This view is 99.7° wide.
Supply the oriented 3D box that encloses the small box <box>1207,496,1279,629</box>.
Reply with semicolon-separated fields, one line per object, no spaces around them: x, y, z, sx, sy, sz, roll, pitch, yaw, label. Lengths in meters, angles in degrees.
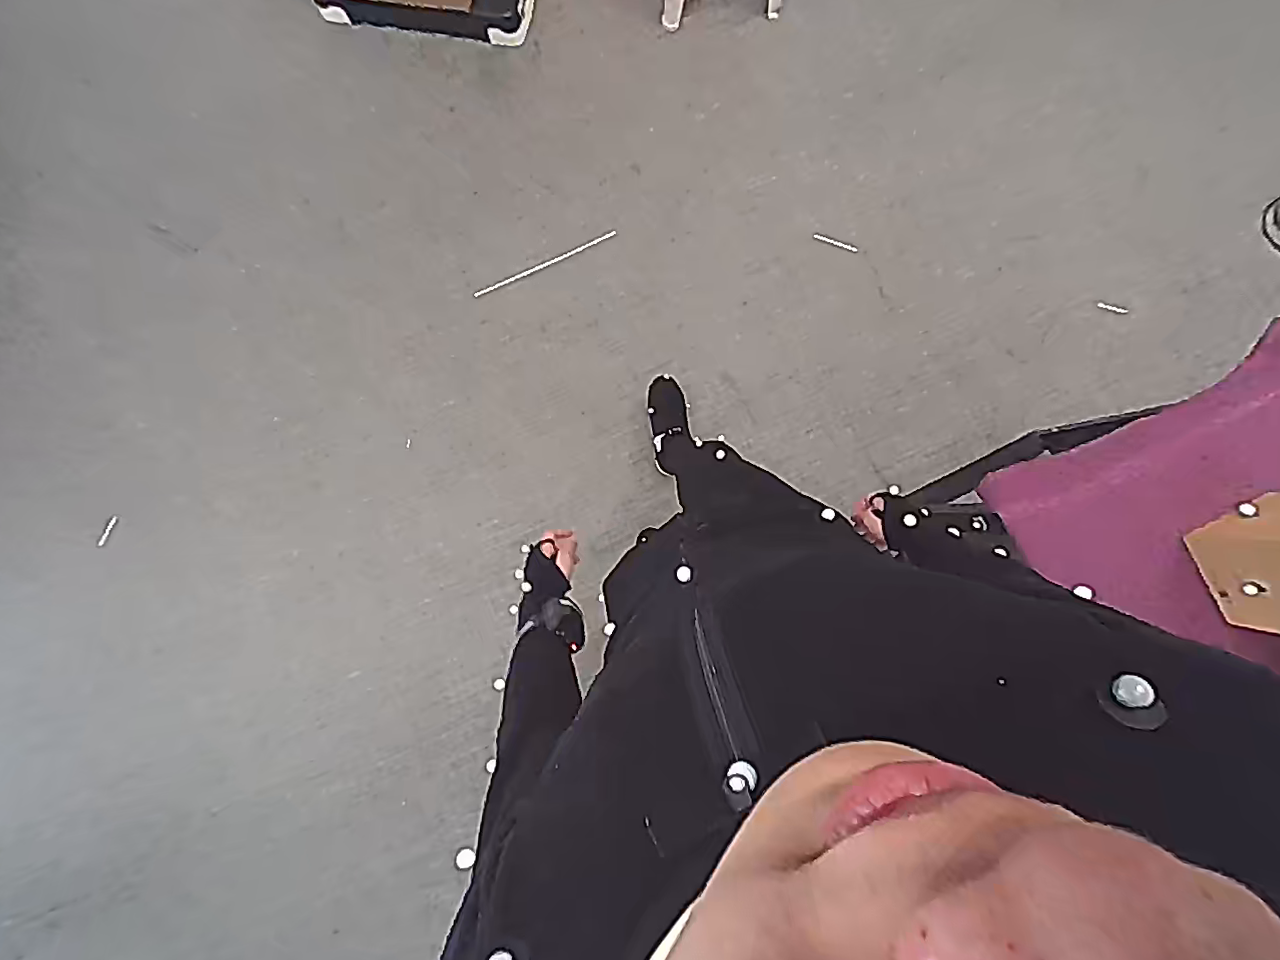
1.032;0.127;0.817;0.179;0.176;0.168;-26;87;-1;small box
